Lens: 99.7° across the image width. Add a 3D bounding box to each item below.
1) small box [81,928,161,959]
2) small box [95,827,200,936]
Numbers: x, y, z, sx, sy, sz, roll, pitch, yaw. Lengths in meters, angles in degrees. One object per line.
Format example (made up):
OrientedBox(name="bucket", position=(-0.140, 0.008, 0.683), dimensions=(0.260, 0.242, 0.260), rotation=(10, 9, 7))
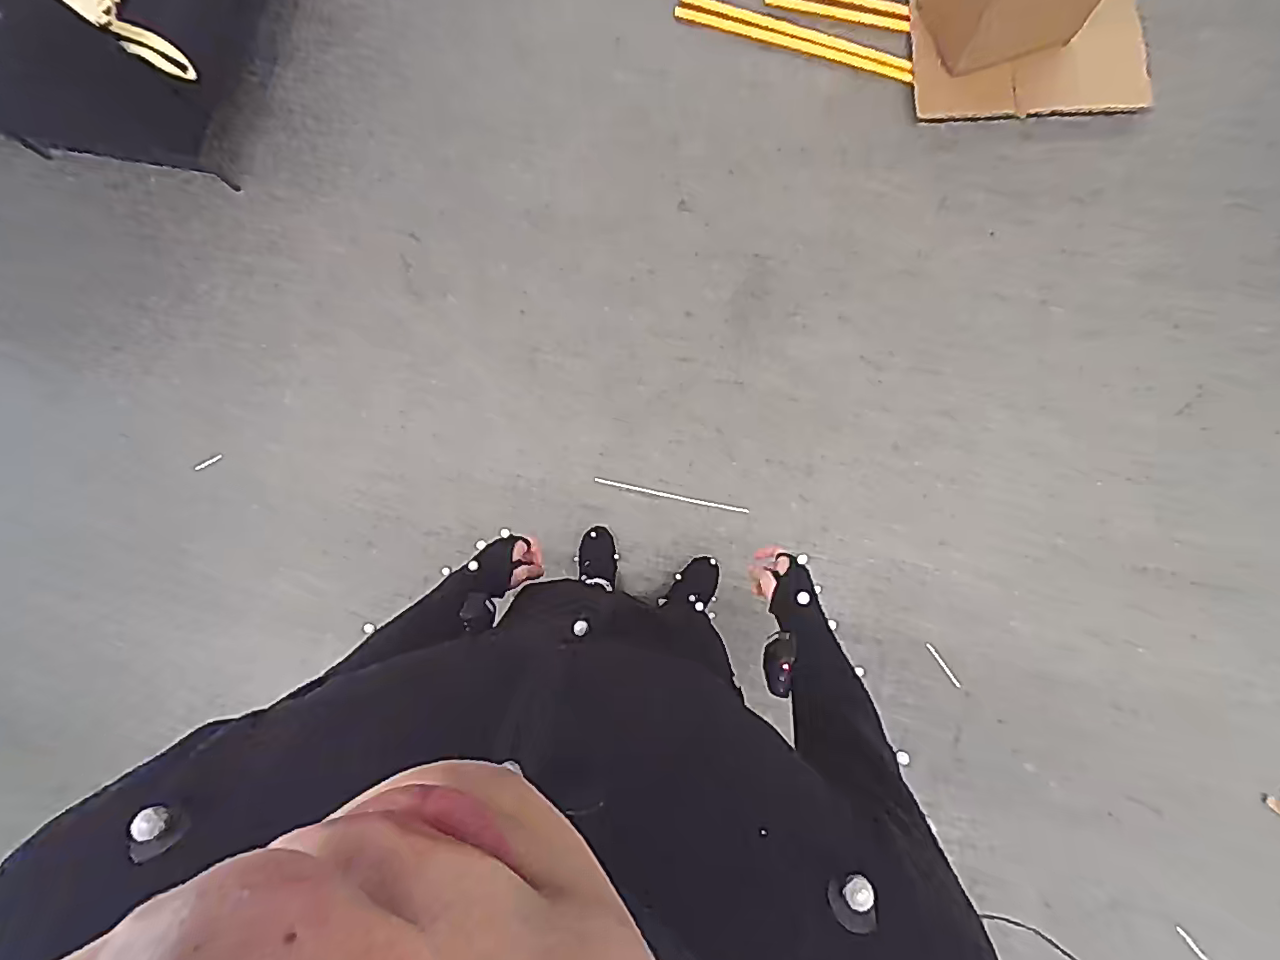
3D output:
OrientedBox(name="small box", position=(-1.523, 1.407, 1.520), dimensions=(0.179, 0.176, 0.168), rotation=(17, 85, 8))
OrientedBox(name="small box", position=(-1.430, 1.133, 1.545), dimensions=(0.179, 0.176, 0.168), rotation=(17, 85, 8))
